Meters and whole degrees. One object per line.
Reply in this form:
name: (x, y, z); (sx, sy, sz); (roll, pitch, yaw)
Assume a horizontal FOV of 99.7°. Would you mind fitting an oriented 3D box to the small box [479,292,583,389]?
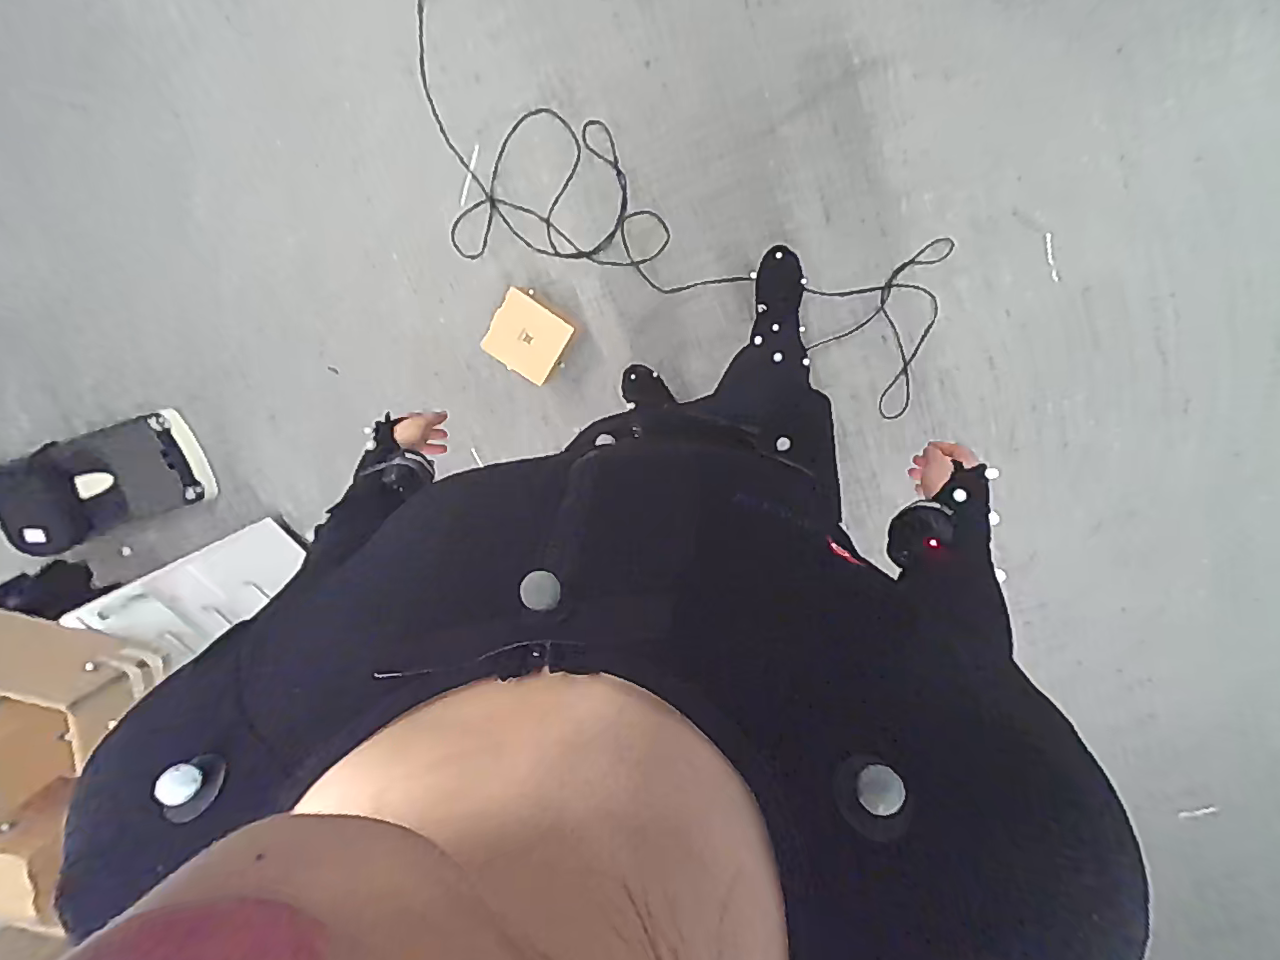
small box: (-0.262, -0.352, 1.350); (0.179, 0.176, 0.168); (33, 107, -5)
